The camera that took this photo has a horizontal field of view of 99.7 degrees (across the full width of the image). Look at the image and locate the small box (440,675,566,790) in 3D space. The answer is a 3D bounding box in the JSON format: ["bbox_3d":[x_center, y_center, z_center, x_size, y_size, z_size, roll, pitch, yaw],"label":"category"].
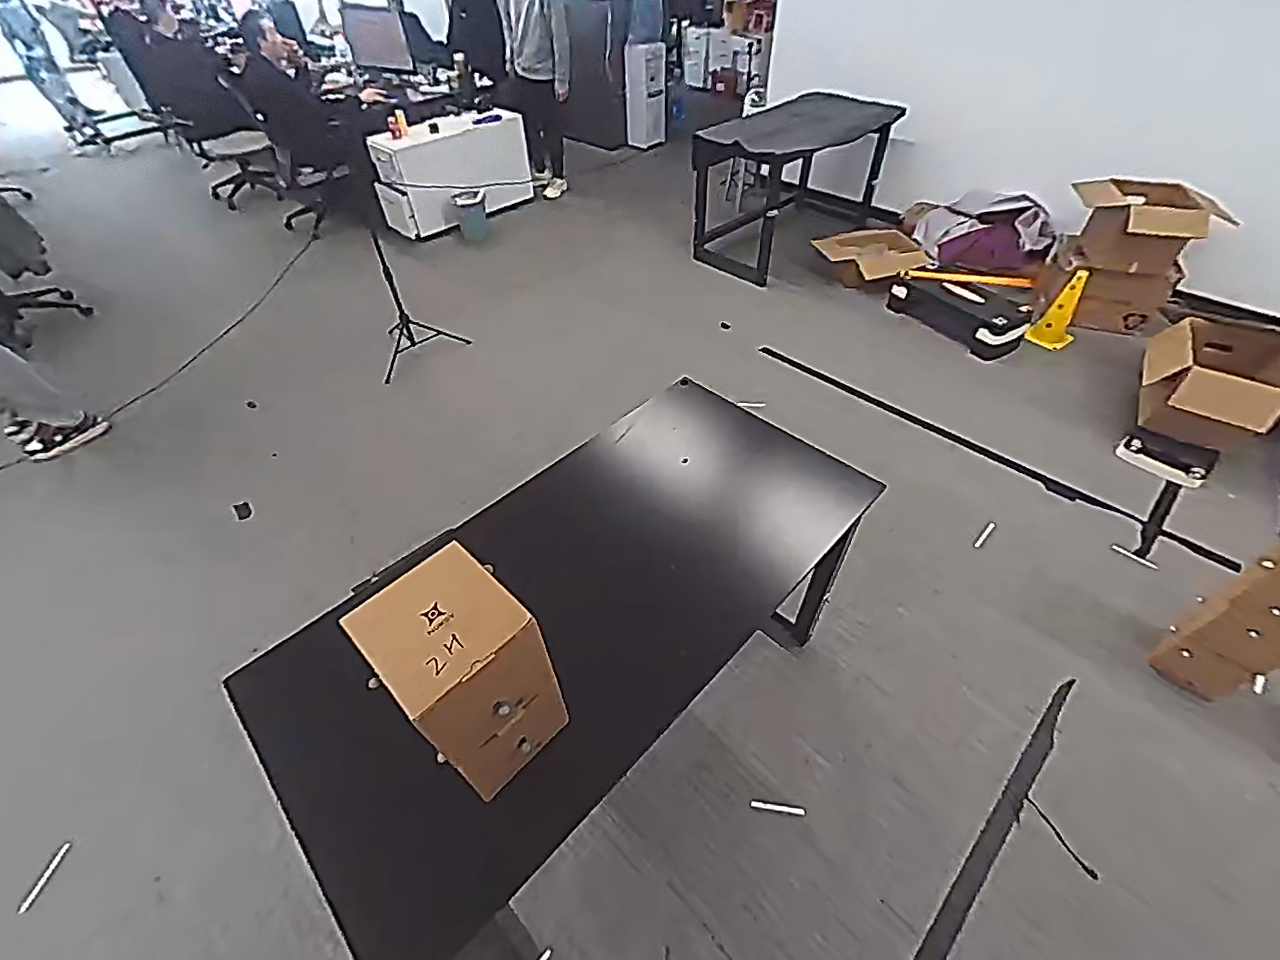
[{"bbox_3d":[-0.230,0.333,0.816,0.179,0.176,0.168,34,56,29],"label":"small box"}]

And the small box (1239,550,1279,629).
[{"bbox_3d":[1.671,0.273,1.350,0.179,0.176,0.168,-35,55,-26],"label":"small box"}]

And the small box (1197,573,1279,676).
[{"bbox_3d":[1.677,0.393,1.460,0.168,0.176,0.179,-36,56,-28],"label":"small box"}]

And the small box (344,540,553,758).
[{"bbox_3d":[-0.235,0.218,0.697,0.179,0.176,0.168,35,57,29],"label":"small box"}]
